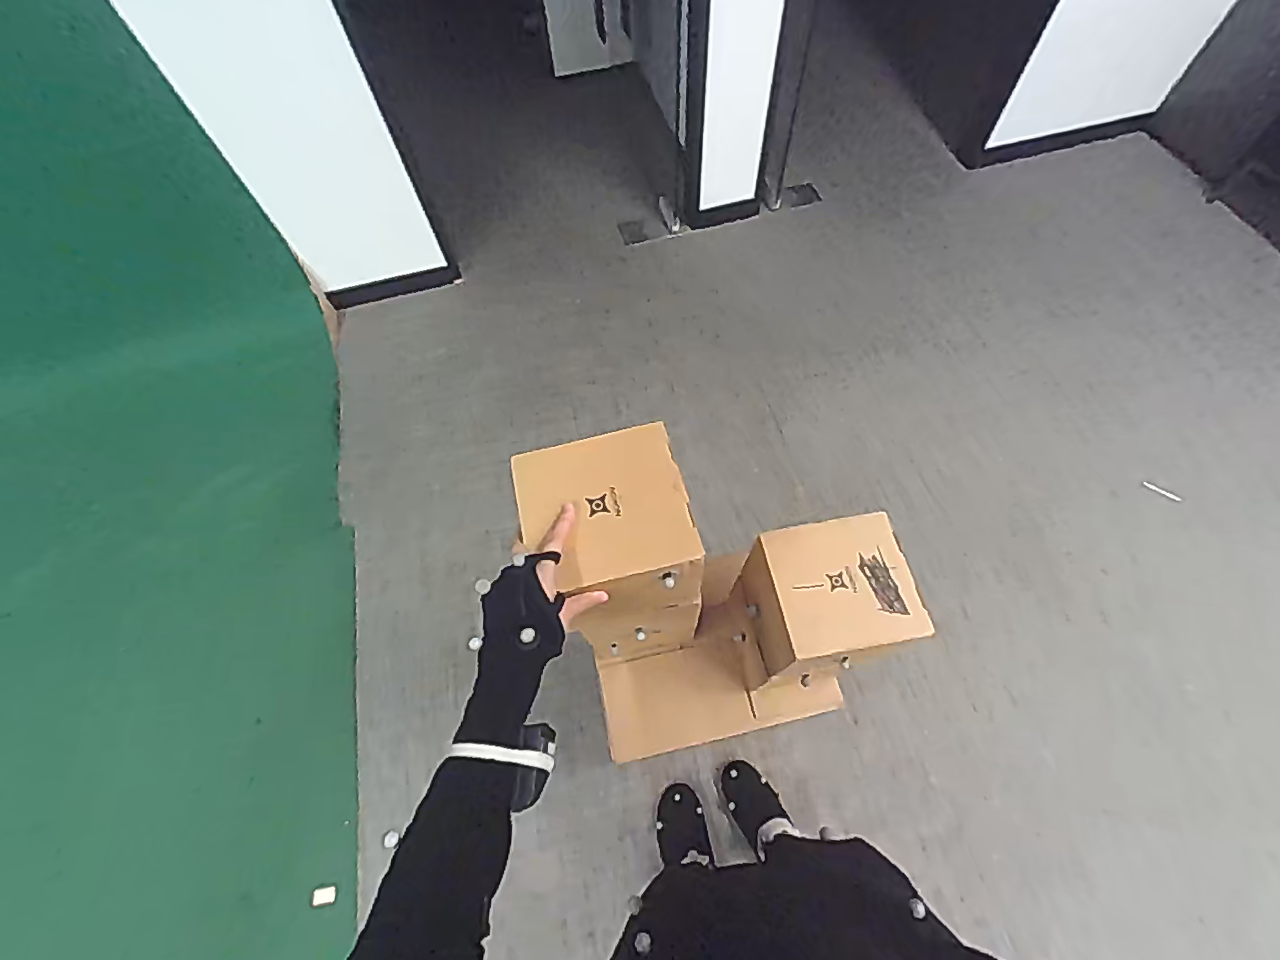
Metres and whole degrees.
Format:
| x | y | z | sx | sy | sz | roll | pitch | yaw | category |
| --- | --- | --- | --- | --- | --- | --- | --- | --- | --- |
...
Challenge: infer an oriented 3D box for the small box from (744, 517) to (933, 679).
| x | y | z | sx | sy | sz | roll | pitch | yaw | category |
| --- | --- | --- | --- | --- | --- | --- | --- | --- | --- |
| 0.256 | 0.169 | 0.747 | 0.179 | 0.176 | 0.168 | -10 | 63 | -2 | small box |

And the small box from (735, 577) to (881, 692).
| x | y | z | sx | sy | sz | roll | pitch | yaw | category |
| --- | --- | --- | --- | --- | --- | --- | --- | --- | --- |
| 0.260 | 0.246 | 0.892 | 0.179 | 0.176 | 0.168 | -11 | 64 | -2 | small box |

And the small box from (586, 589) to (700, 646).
| x | y | z | sx | sy | sz | roll | pitch | yaw | category |
| --- | --- | --- | --- | --- | --- | --- | --- | --- | --- |
| -0.011 | 0.129 | 0.786 | 0.168 | 0.176 | 0.179 | -8 | 63 | 0 | small box |

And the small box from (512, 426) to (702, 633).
| x | y | z | sx | sy | sz | roll | pitch | yaw | category |
| --- | --- | --- | --- | --- | --- | --- | --- | --- | --- |
| -0.034 | 0.067 | 0.634 | 0.179 | 0.176 | 0.168 | -15 | 63 | -3 | small box |
